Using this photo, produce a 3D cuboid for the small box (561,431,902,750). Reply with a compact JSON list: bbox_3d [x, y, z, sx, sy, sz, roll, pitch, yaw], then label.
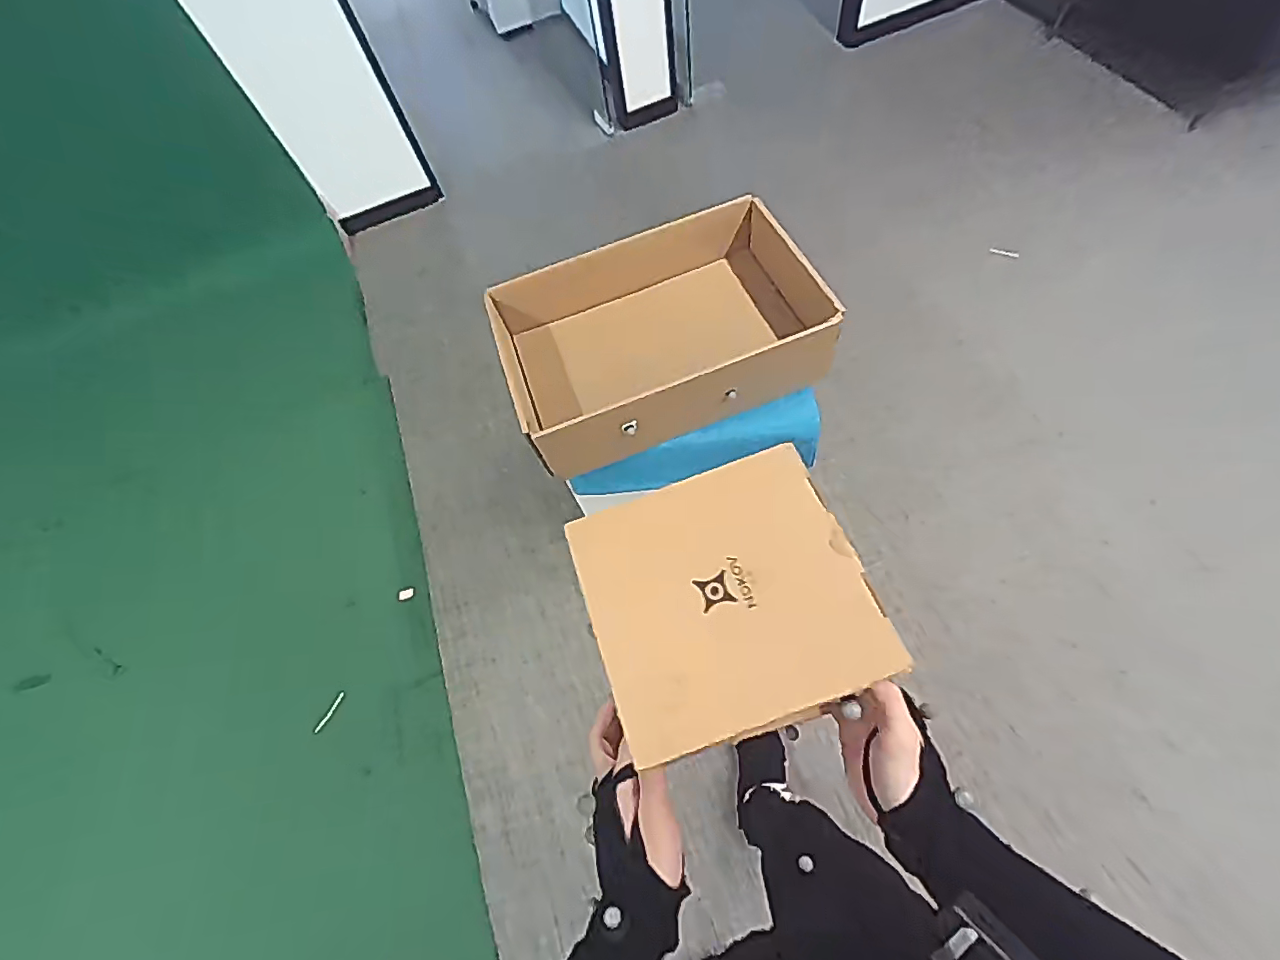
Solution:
[{"bbox_3d":[0.061,0.096,0.417,0.179,0.176,0.168,-21,62,-1],"label":"small box"}]
